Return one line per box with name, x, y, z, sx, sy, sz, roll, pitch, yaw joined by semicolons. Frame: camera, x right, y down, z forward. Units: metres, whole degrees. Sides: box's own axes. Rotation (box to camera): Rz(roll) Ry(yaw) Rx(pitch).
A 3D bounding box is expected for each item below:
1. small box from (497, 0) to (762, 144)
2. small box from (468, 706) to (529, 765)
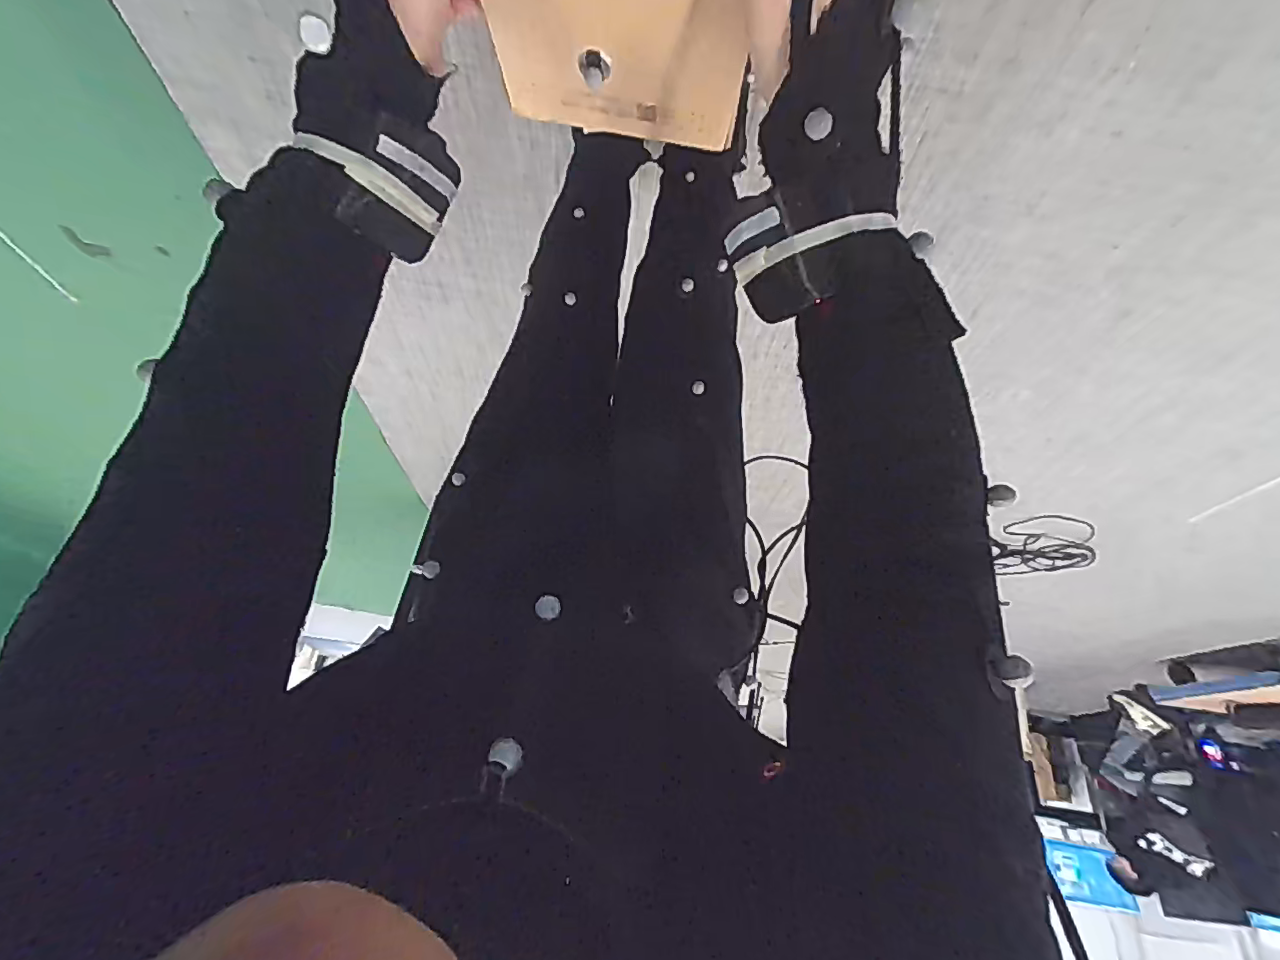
small box;0.002;-0.358;0.335;0.168;0.179;0.176;10;173;1
small box;-0.498;0.909;1.922;0.168;0.176;0.179;8;150;-1
